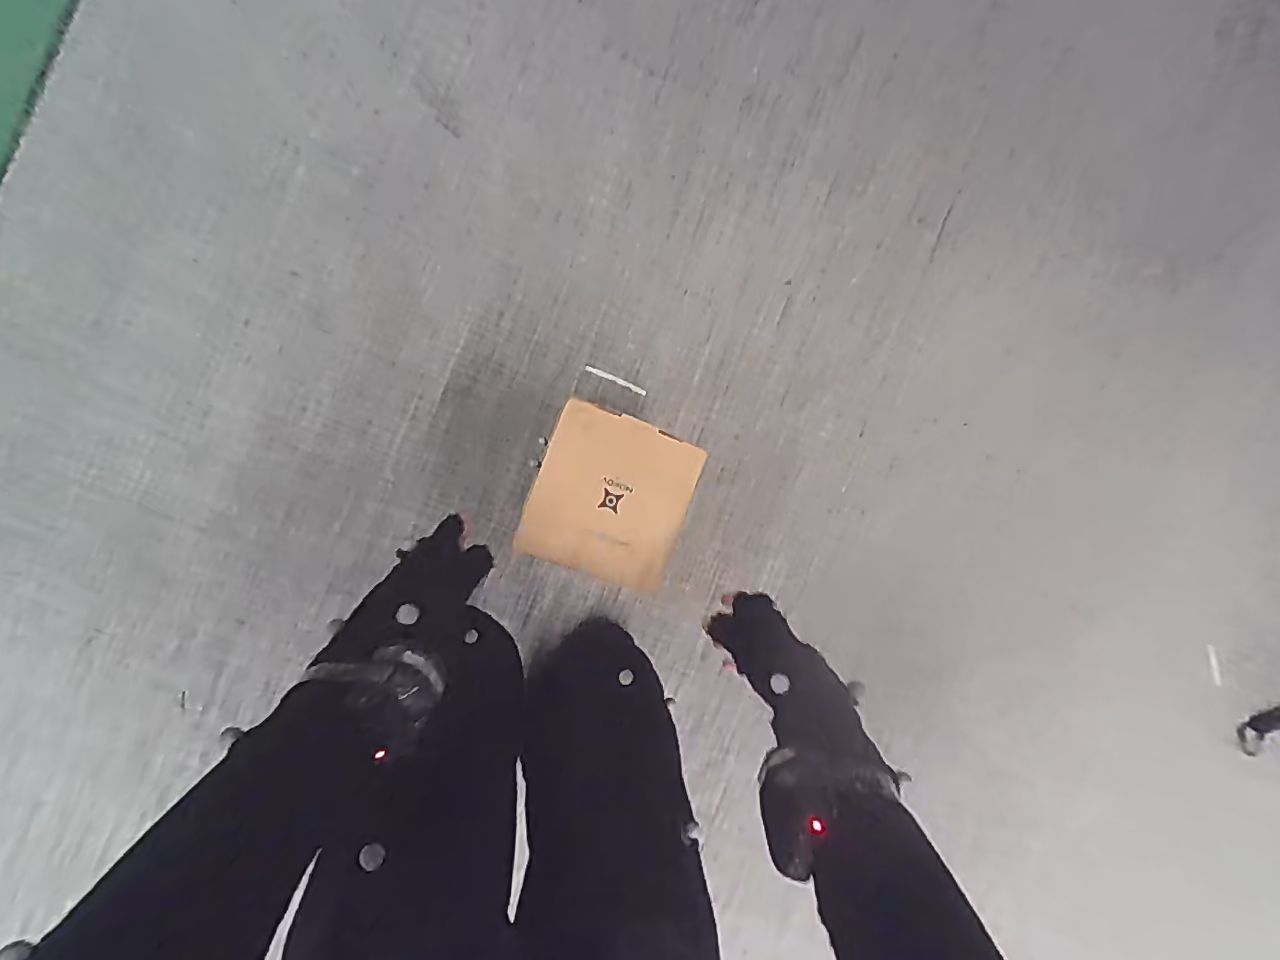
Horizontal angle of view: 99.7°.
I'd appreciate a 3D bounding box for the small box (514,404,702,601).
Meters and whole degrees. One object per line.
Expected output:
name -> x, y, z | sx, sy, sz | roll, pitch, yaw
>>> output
small box -> -0.045, 0.024, 0.669 | 0.168, 0.176, 0.179 | 20, 89, -9
